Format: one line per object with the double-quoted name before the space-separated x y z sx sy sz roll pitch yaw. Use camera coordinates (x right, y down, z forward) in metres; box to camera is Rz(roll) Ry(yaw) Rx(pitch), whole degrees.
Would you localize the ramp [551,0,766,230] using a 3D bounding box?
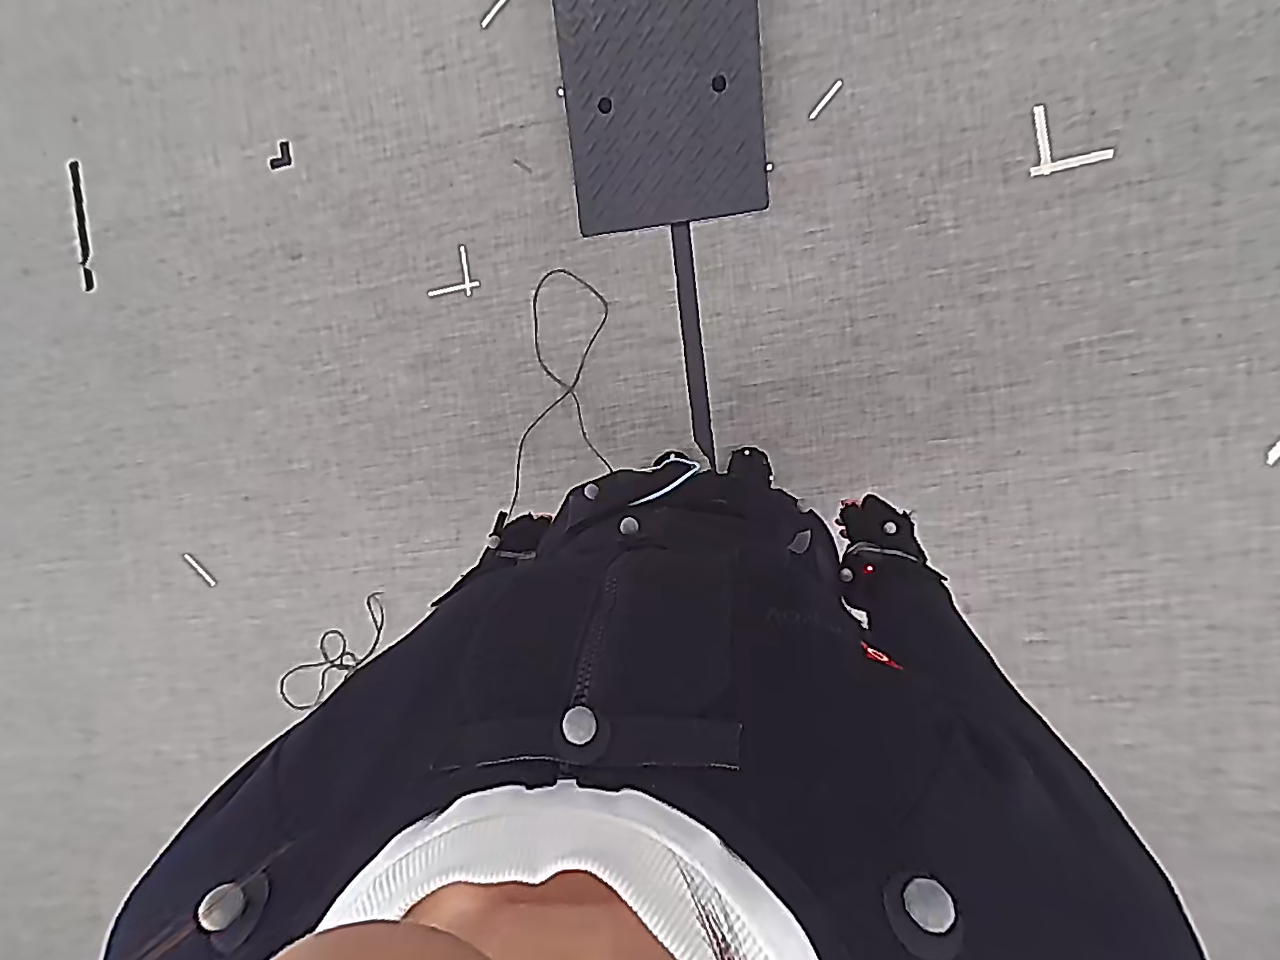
"ramp" 0.028 -1.165 1.289 0.509 0.206 0.991 -6 93 8
